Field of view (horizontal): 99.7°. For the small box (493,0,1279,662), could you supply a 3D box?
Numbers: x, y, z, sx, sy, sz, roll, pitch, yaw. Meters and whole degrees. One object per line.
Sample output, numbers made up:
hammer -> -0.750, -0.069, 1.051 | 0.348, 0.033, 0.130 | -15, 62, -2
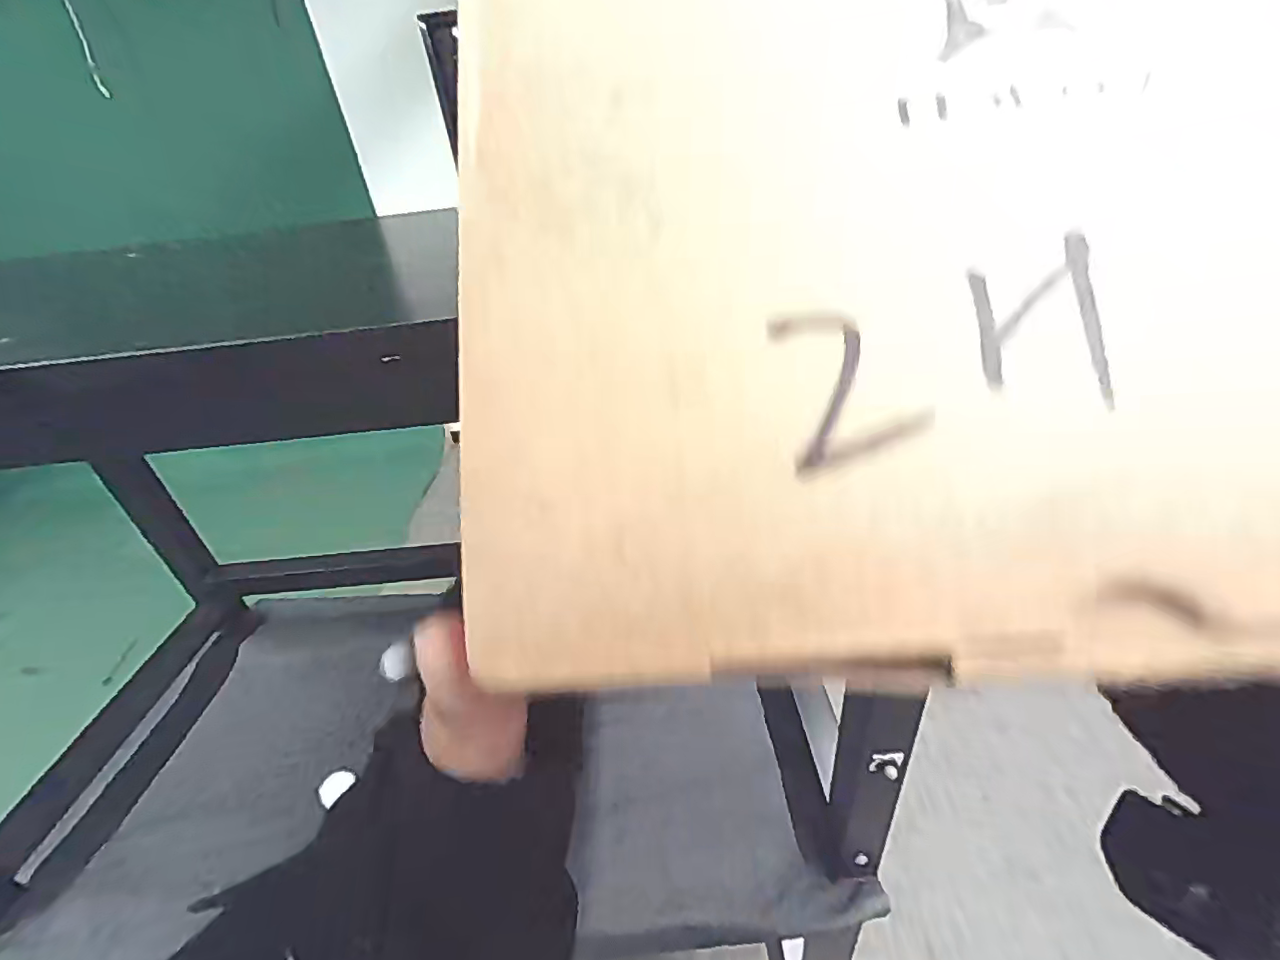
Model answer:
small box -> 0.064, -0.049, 0.161 | 0.168, 0.179, 0.176 | -4, -11, 4
